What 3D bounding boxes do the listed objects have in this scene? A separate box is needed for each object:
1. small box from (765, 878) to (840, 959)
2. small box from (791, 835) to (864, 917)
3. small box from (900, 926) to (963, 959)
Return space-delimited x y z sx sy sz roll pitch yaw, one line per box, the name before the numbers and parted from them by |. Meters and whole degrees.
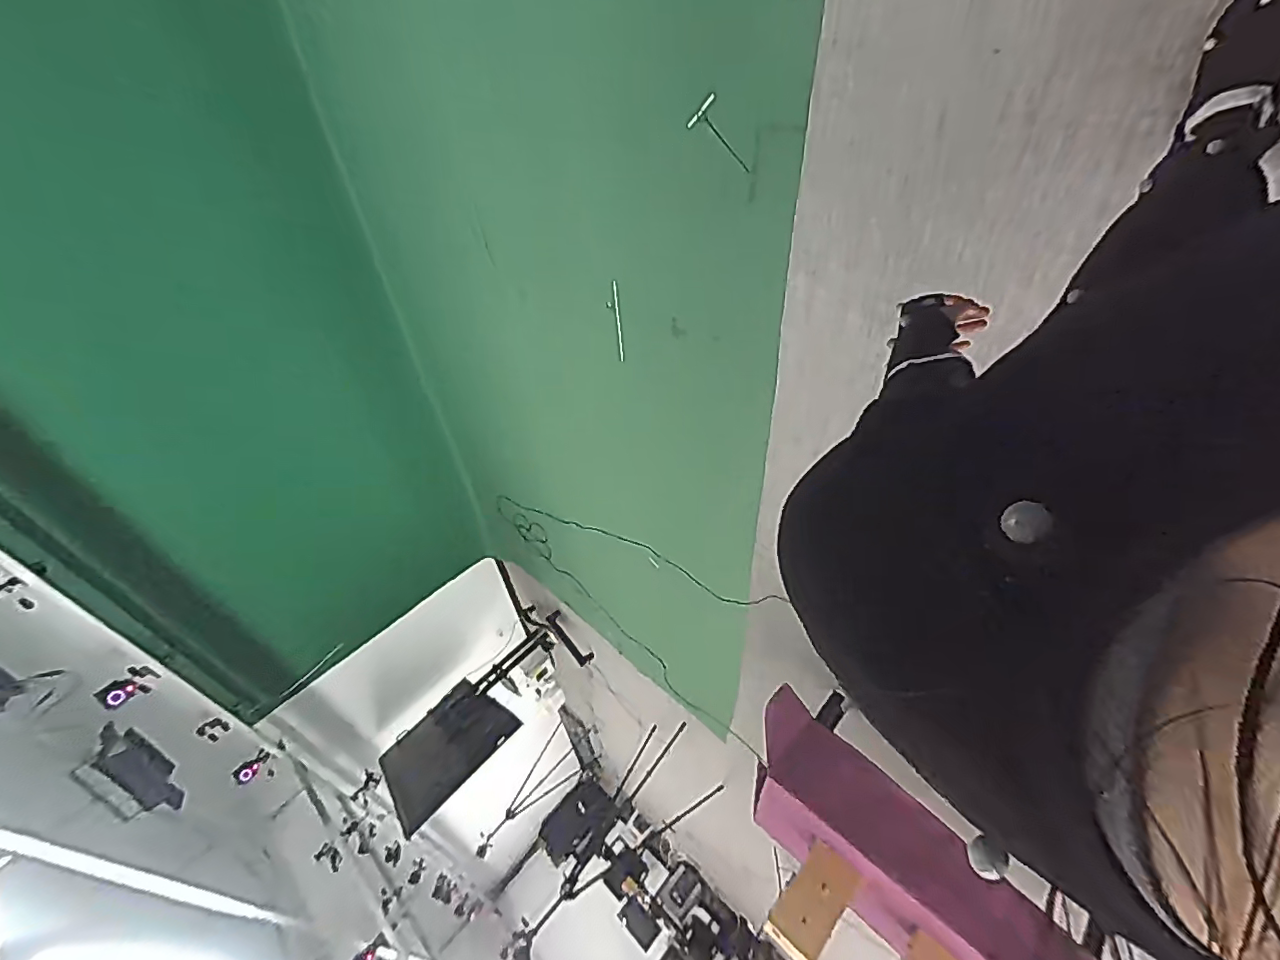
small box | 0.561 1.519 1.869 0.179 0.176 0.168 31 144 30
small box | 0.677 1.434 1.949 0.179 0.176 0.168 33 145 31
small box | 0.957 1.615 1.759 0.179 0.176 0.168 30 144 35
